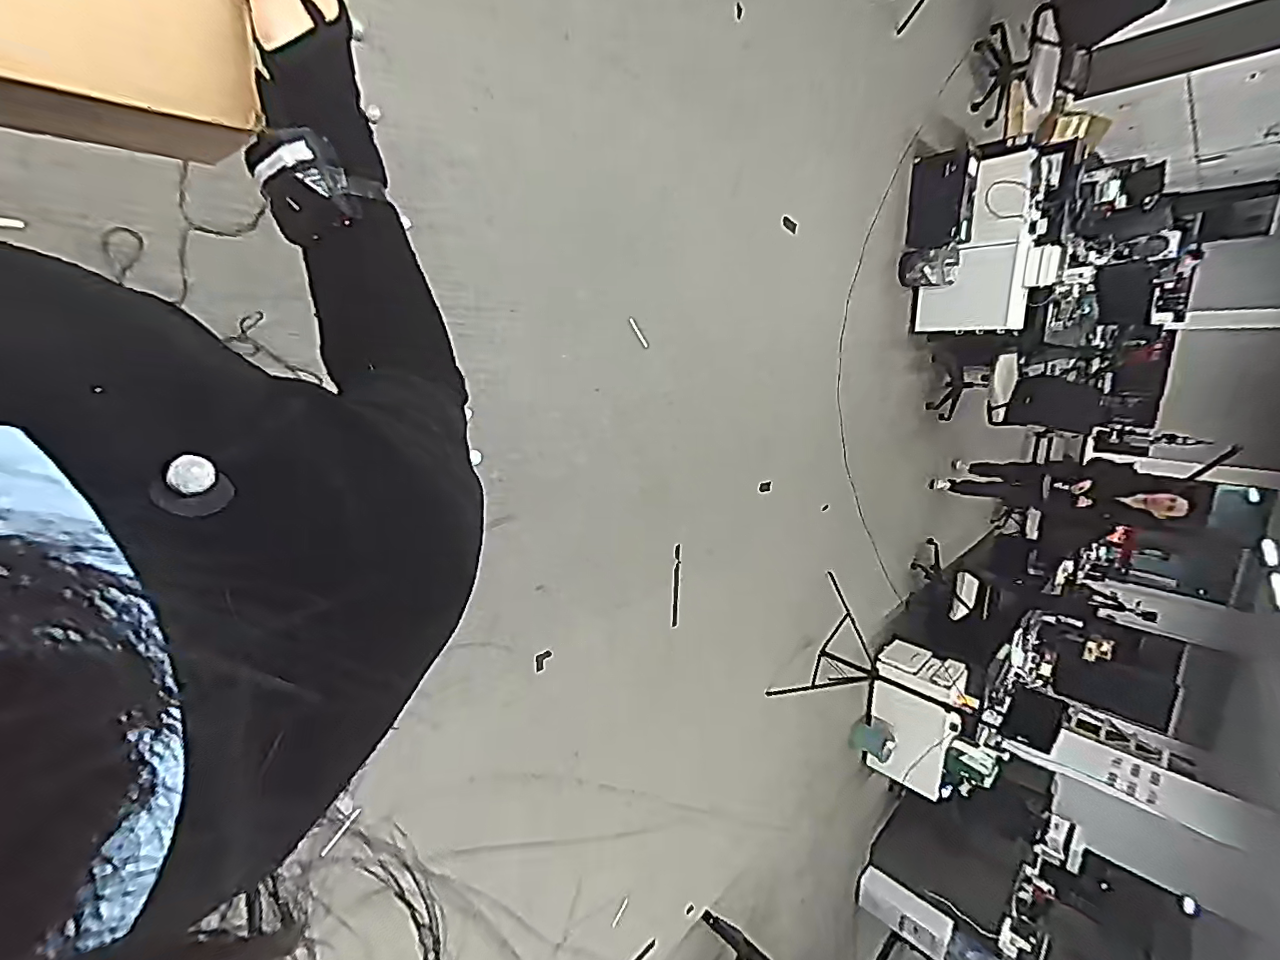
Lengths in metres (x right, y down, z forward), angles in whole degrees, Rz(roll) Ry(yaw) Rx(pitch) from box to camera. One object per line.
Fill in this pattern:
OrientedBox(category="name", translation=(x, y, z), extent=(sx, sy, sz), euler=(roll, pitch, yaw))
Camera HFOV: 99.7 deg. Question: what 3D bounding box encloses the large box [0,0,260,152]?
OrientedBox(category="large box", translation=(-0.528, -0.433, 0.345), extent=(0.408, 0.320, 0.320), euler=(-12, 116, -40))
